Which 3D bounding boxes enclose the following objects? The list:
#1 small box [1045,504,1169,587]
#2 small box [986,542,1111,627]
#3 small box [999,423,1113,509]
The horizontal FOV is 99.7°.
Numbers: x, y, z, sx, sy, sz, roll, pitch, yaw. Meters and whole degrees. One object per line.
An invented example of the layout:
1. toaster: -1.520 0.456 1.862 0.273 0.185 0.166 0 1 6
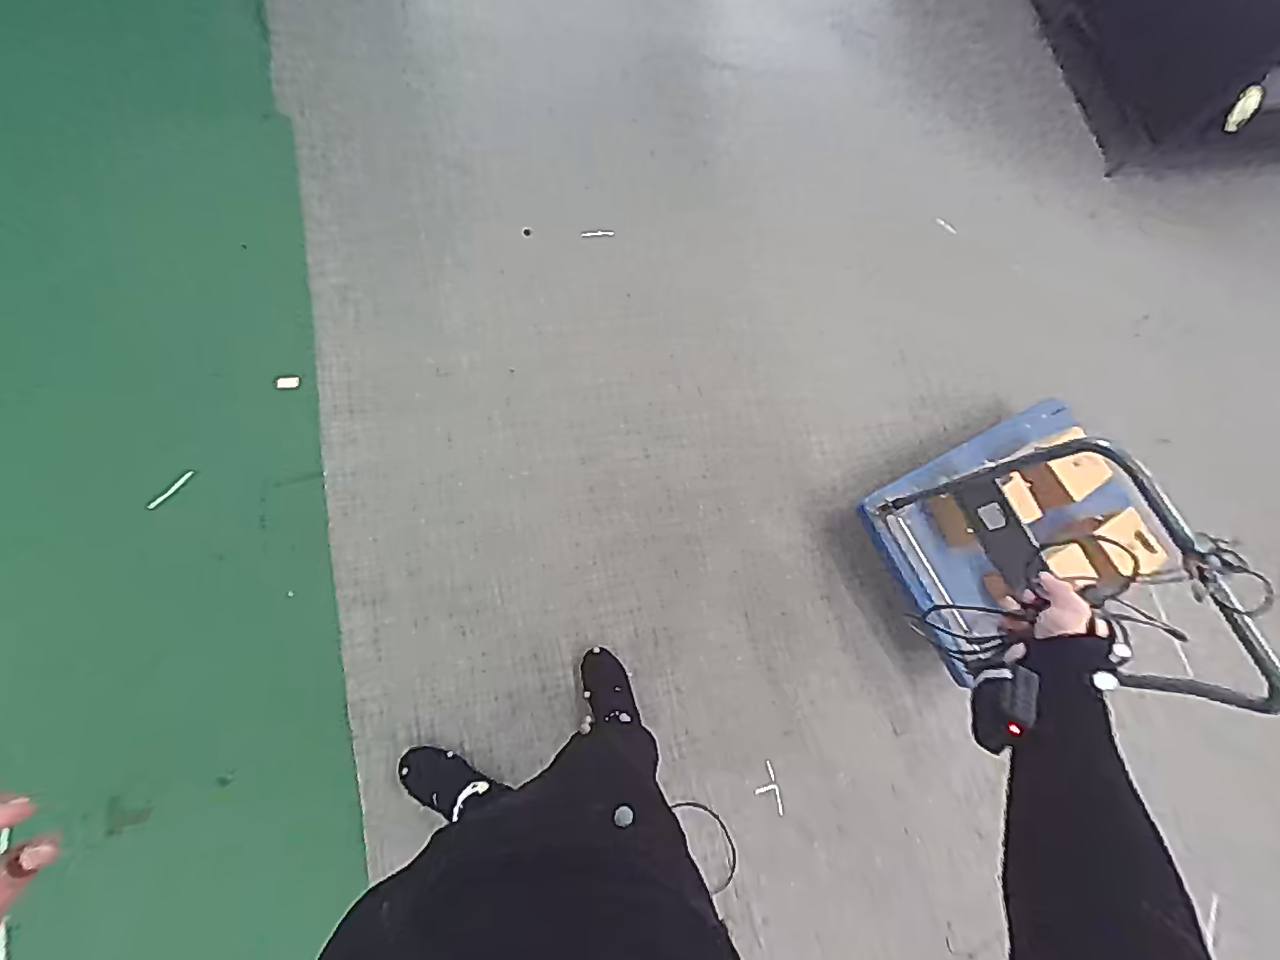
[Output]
1. small box: 1.306 0.190 1.525 0.179 0.176 0.168 -27 80 -16
2. small box: 1.091 0.284 1.457 0.179 0.176 0.168 -23 80 -16
3. small box: 1.190 -0.035 1.566 0.179 0.176 0.168 -28 82 -17
